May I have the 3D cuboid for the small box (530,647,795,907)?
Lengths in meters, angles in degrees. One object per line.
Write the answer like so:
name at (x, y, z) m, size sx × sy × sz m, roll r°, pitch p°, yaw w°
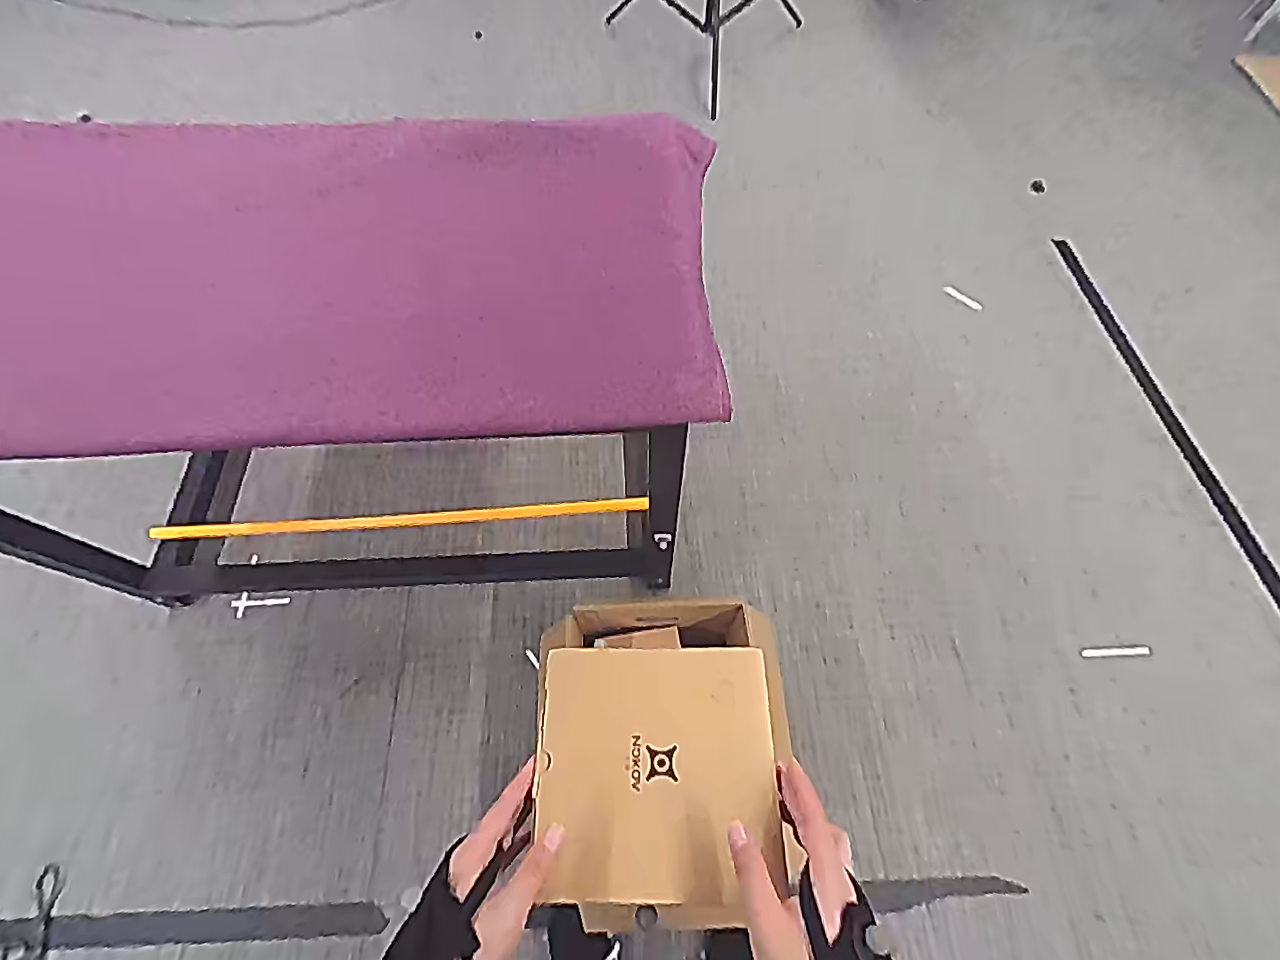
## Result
small box at (0.019, 0.244, 0.459) m, size 0.179 × 0.176 × 0.168 m, roll -2°, pitch 59°, yaw 3°
